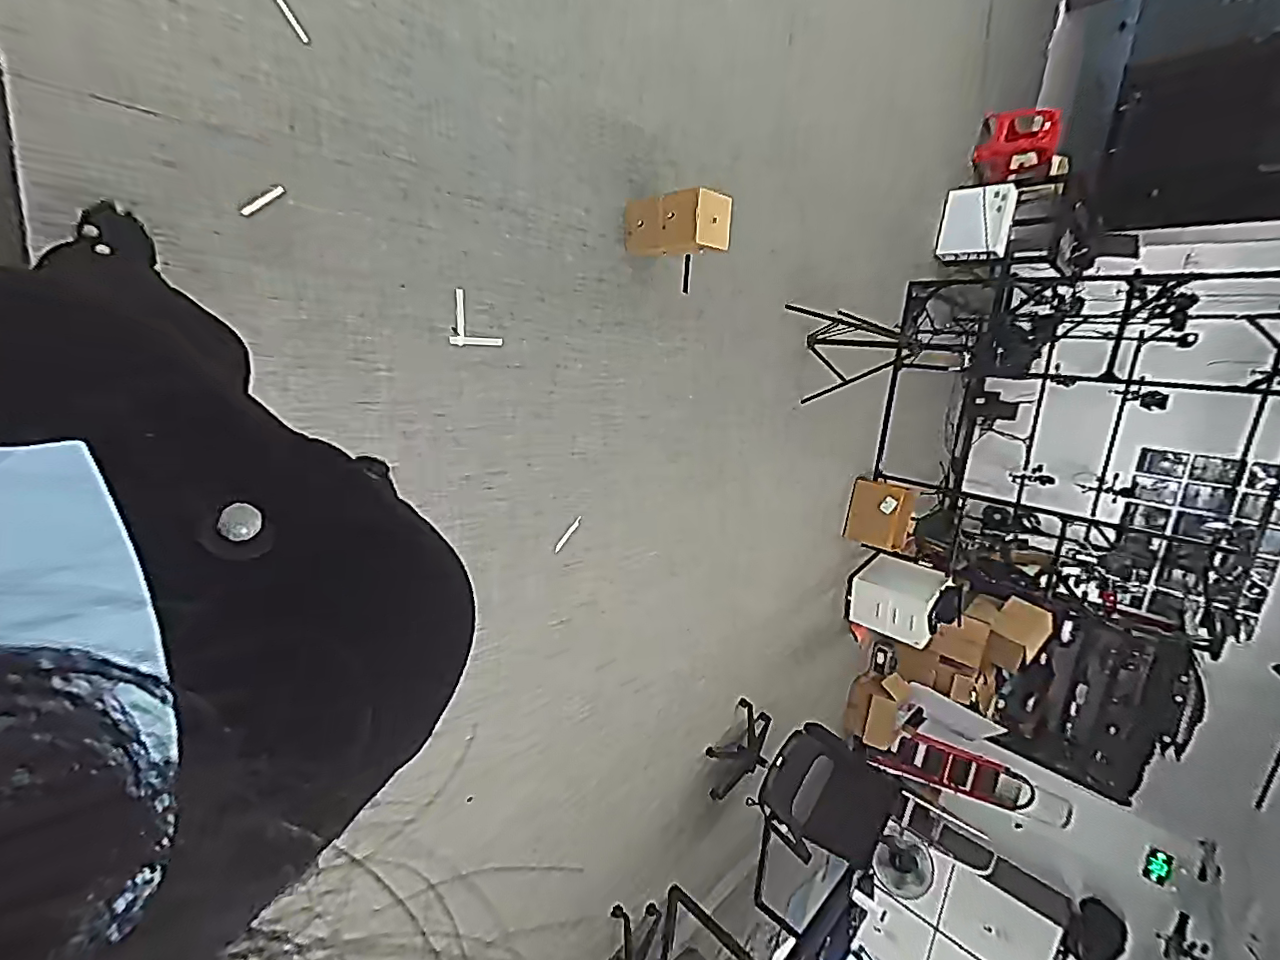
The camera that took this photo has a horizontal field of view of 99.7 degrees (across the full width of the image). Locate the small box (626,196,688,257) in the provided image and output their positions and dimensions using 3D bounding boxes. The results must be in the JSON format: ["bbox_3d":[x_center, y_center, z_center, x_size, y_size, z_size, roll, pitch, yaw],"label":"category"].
[{"bbox_3d":[0.064,-0.895,1.927,0.179,0.176,0.168,-14,113,-44],"label":"small box"}]

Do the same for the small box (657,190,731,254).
[{"bbox_3d":[0.181,-0.860,1.819,0.179,0.176,0.168,-12,111,-44],"label":"small box"}]
